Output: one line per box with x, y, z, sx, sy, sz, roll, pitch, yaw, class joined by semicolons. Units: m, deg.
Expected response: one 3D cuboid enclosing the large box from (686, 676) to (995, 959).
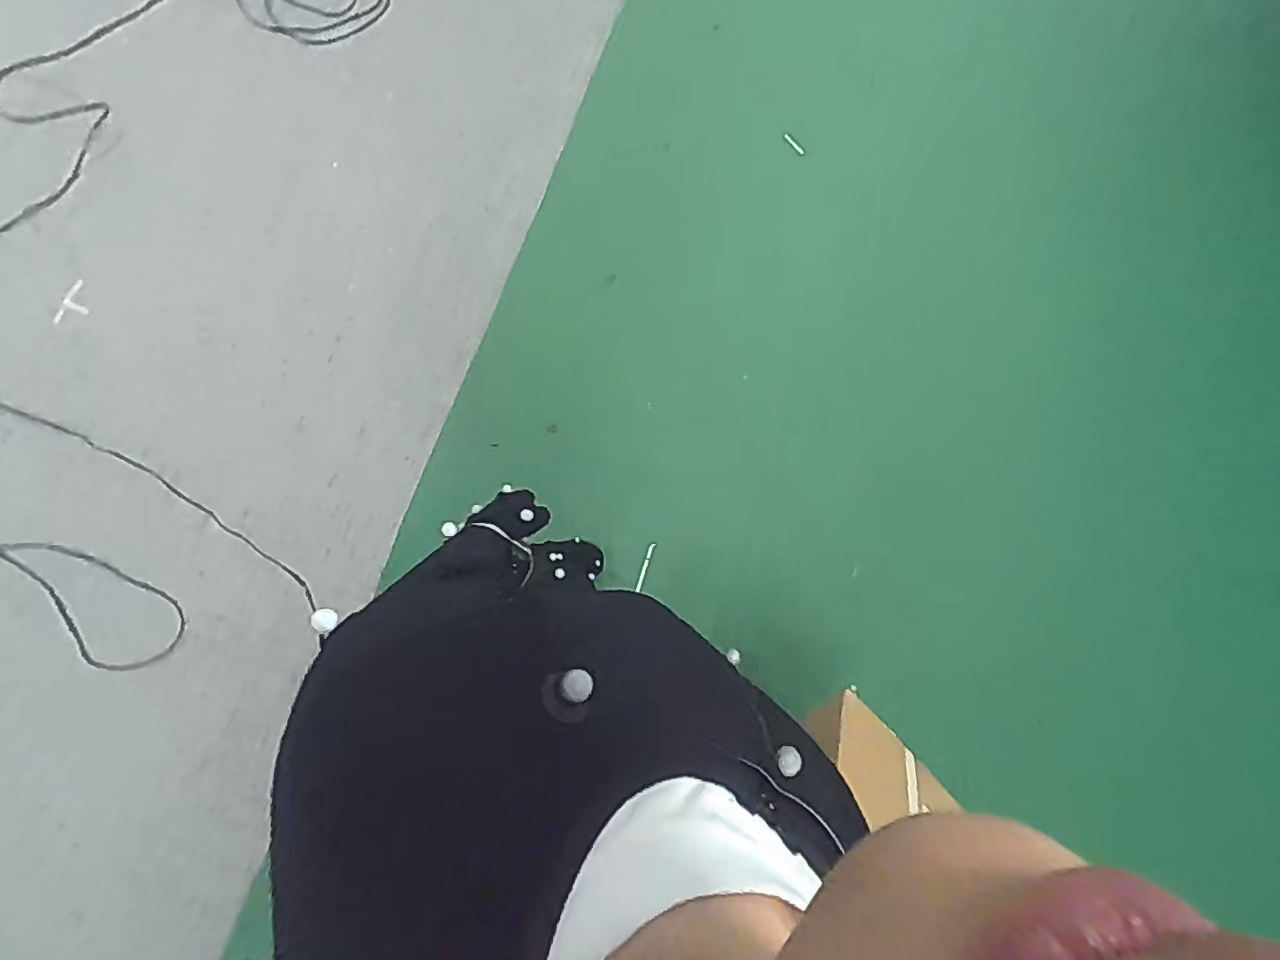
0.331;0.631;0.919;0.320;0.408;0.320;47;115;7;large box
